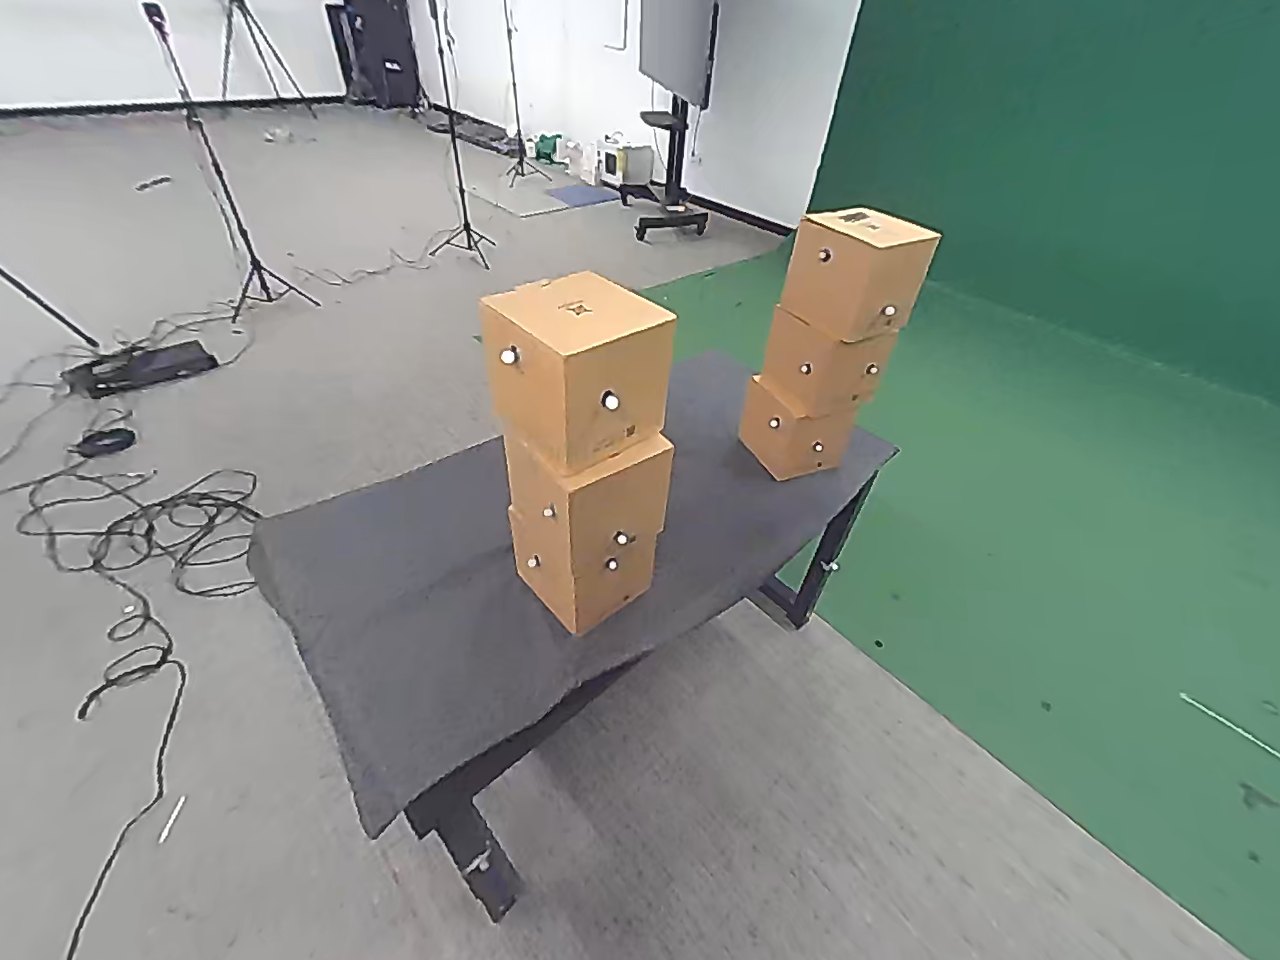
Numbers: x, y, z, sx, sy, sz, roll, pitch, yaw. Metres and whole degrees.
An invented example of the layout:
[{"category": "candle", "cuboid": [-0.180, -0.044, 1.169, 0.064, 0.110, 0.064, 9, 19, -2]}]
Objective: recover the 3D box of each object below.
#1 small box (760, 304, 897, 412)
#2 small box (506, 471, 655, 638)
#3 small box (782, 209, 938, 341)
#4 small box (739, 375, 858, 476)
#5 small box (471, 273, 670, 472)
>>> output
[{"category": "small box", "cuboid": [0.366, -0.249, 1.084, 0.168, 0.176, 0.179, -16, 43, -22]}, {"category": "small box", "cuboid": [-0.097, 0.120, 0.885, 0.168, 0.176, 0.179, -29, 51, -32]}, {"category": "small box", "cuboid": [0.384, -0.372, 0.976, 0.168, 0.176, 0.179, -21, 47, -26]}, {"category": "small box", "cuboid": [0.337, -0.125, 1.186, 0.168, 0.176, 0.179, -13, 43, -18]}, {"category": "small box", "cuboid": [-0.083, -0.132, 0.675, 0.168, 0.176, 0.179, -30, 51, -32]}]
